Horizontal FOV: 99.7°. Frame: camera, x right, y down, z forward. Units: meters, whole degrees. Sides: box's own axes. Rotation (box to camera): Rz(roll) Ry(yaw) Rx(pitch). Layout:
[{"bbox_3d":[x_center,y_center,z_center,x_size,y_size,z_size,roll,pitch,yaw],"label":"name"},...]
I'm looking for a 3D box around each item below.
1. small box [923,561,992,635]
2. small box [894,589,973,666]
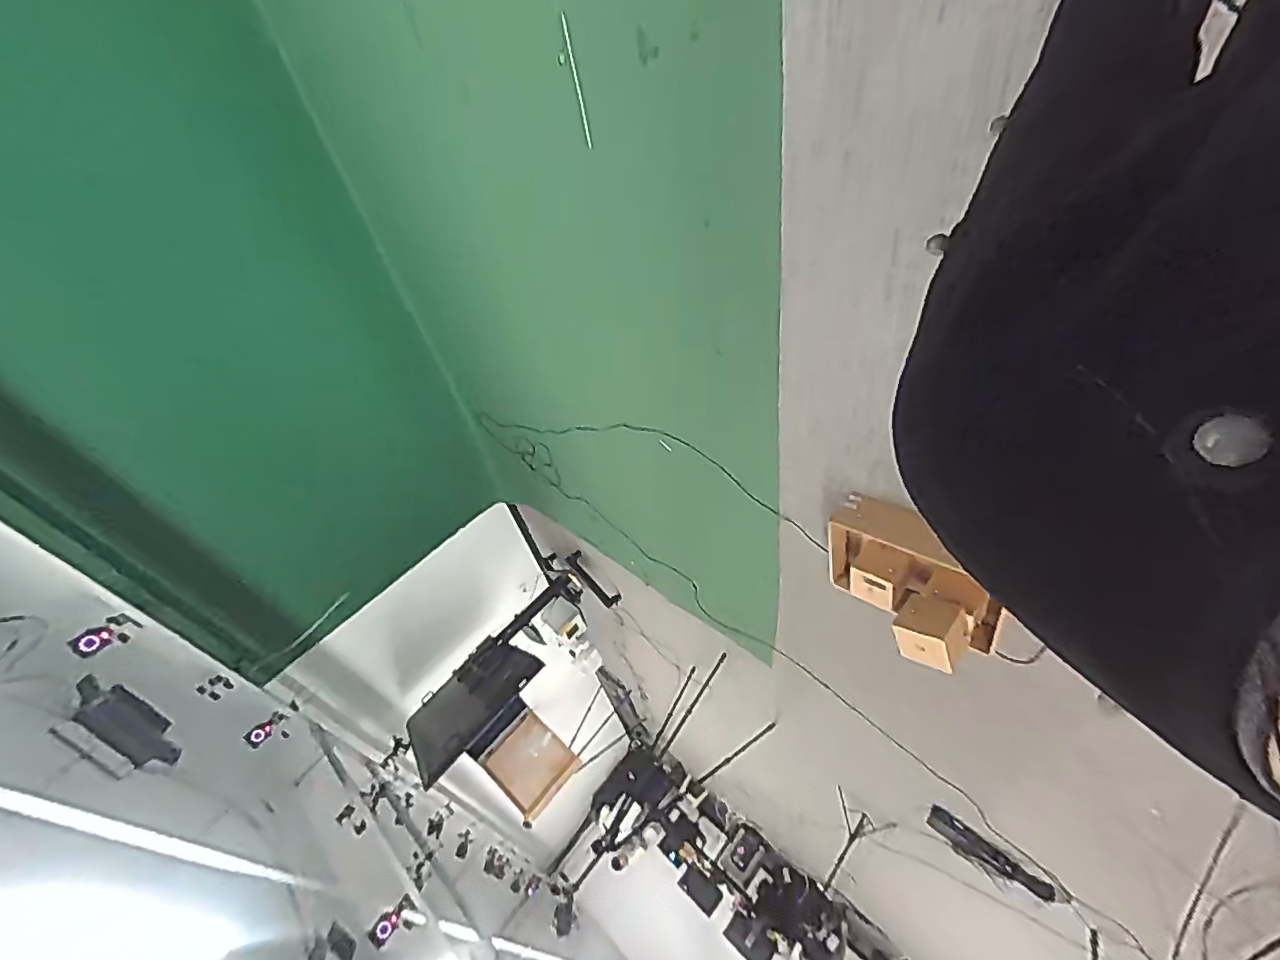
[{"bbox_3d":[1.141,0.423,1.959,0.179,0.176,0.168,25,145,40],"label":"small box"},{"bbox_3d":[1.023,0.504,1.881,0.179,0.176,0.168,9,133,52],"label":"small box"}]
